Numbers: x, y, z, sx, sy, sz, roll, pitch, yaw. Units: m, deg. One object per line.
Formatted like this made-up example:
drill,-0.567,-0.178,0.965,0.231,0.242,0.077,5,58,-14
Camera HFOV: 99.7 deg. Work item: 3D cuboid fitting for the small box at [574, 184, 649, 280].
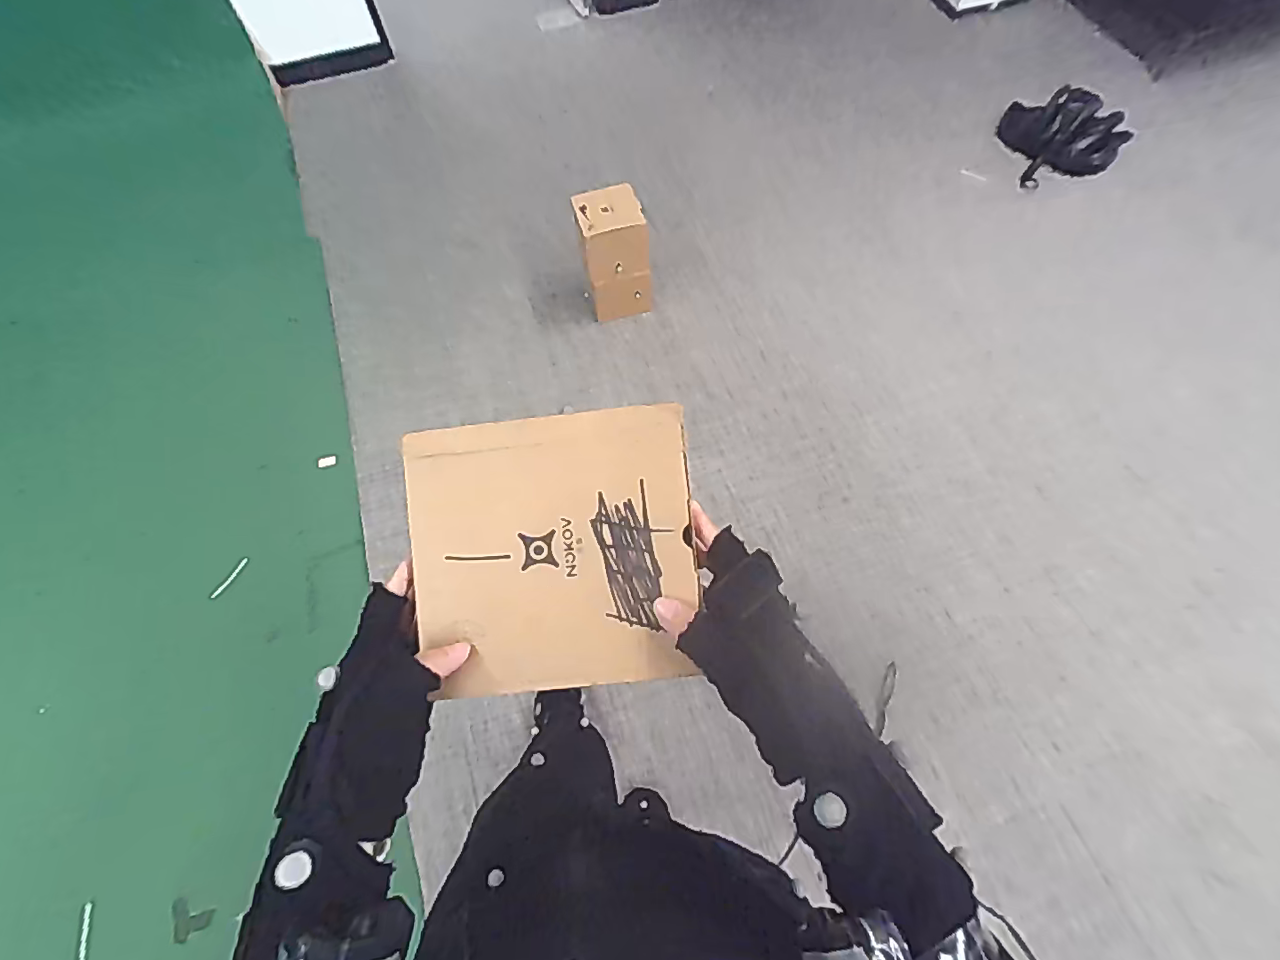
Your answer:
small box,-0.080,-0.703,1.544,0.179,0.176,0.168,-15,66,-5

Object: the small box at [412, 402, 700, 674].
small box,-0.052,0.039,0.414,0.179,0.176,0.168,-3,86,2
